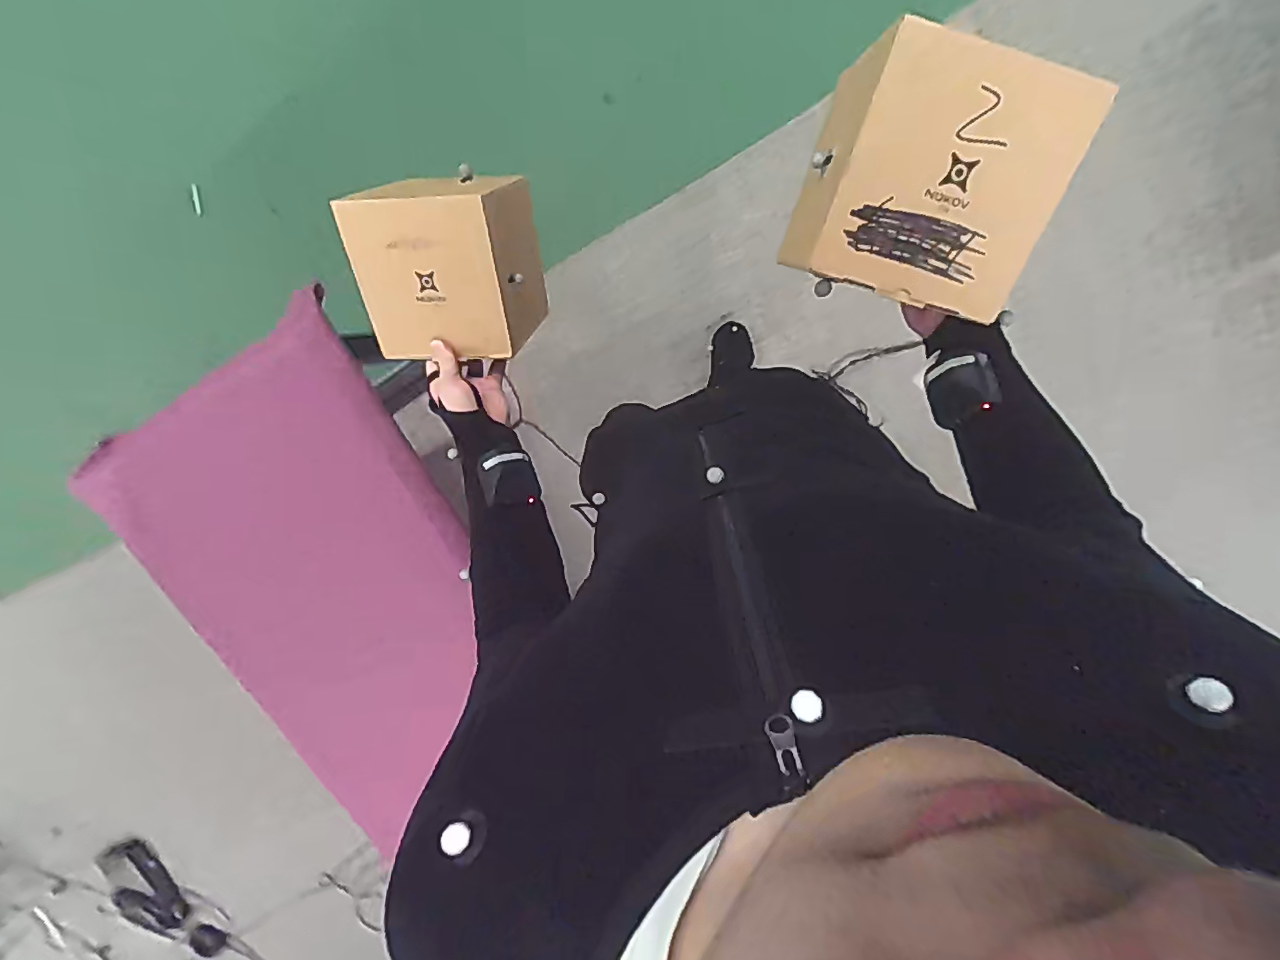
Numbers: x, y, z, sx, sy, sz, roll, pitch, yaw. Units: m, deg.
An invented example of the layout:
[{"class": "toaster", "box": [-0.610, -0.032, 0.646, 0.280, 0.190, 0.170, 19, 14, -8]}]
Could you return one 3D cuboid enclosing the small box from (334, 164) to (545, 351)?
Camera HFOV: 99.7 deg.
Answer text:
[{"class": "small box", "box": [-0.222, -0.272, 0.657, 0.168, 0.176, 0.179, 2, 126, 6]}]
